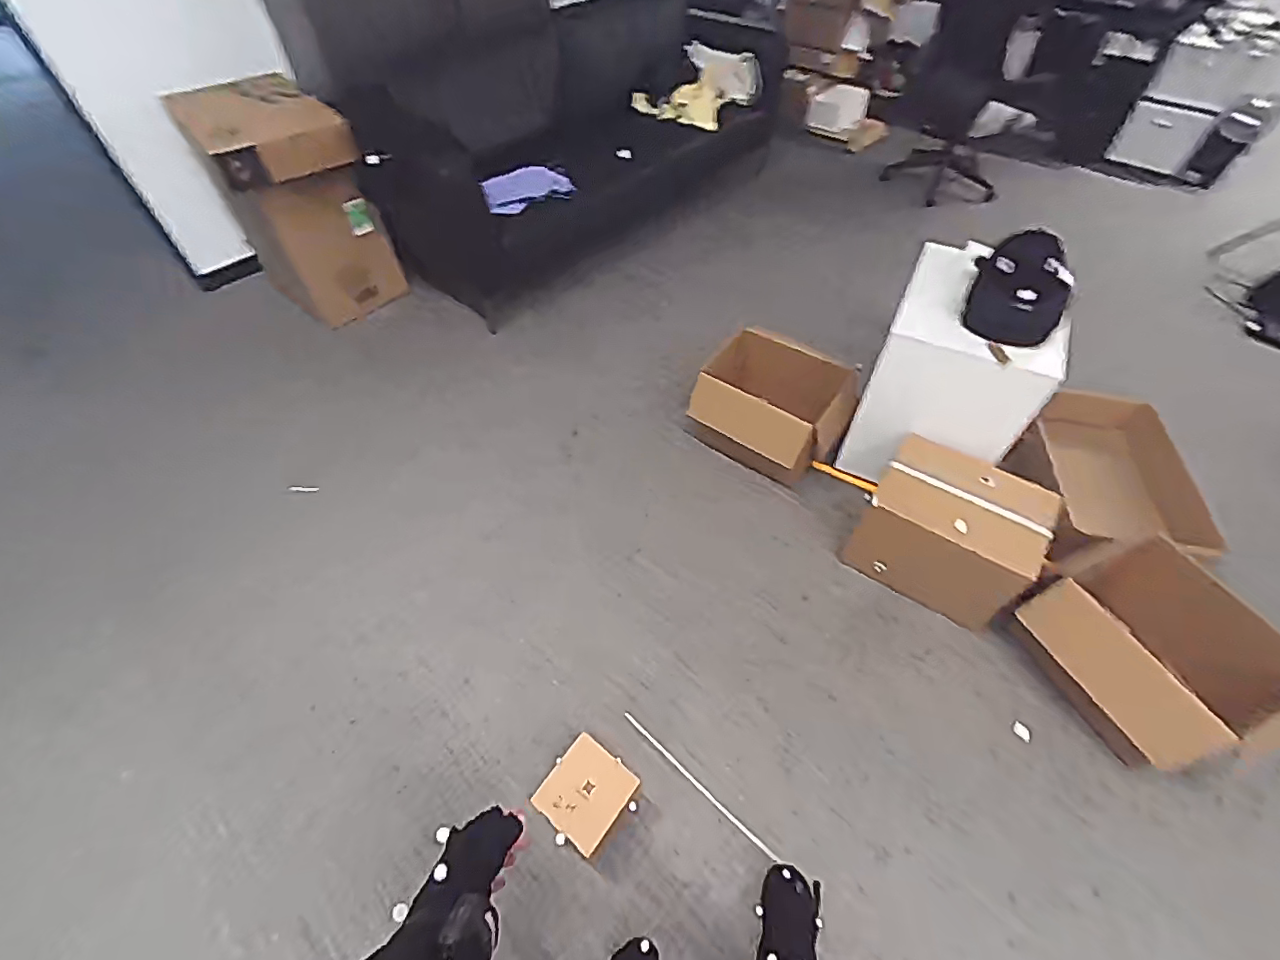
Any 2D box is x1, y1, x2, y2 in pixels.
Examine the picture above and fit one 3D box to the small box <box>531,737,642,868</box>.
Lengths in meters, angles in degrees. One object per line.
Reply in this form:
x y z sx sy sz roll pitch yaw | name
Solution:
-0.112 0.710 1.190 0.168 0.176 0.179 31 58 24 | small box
